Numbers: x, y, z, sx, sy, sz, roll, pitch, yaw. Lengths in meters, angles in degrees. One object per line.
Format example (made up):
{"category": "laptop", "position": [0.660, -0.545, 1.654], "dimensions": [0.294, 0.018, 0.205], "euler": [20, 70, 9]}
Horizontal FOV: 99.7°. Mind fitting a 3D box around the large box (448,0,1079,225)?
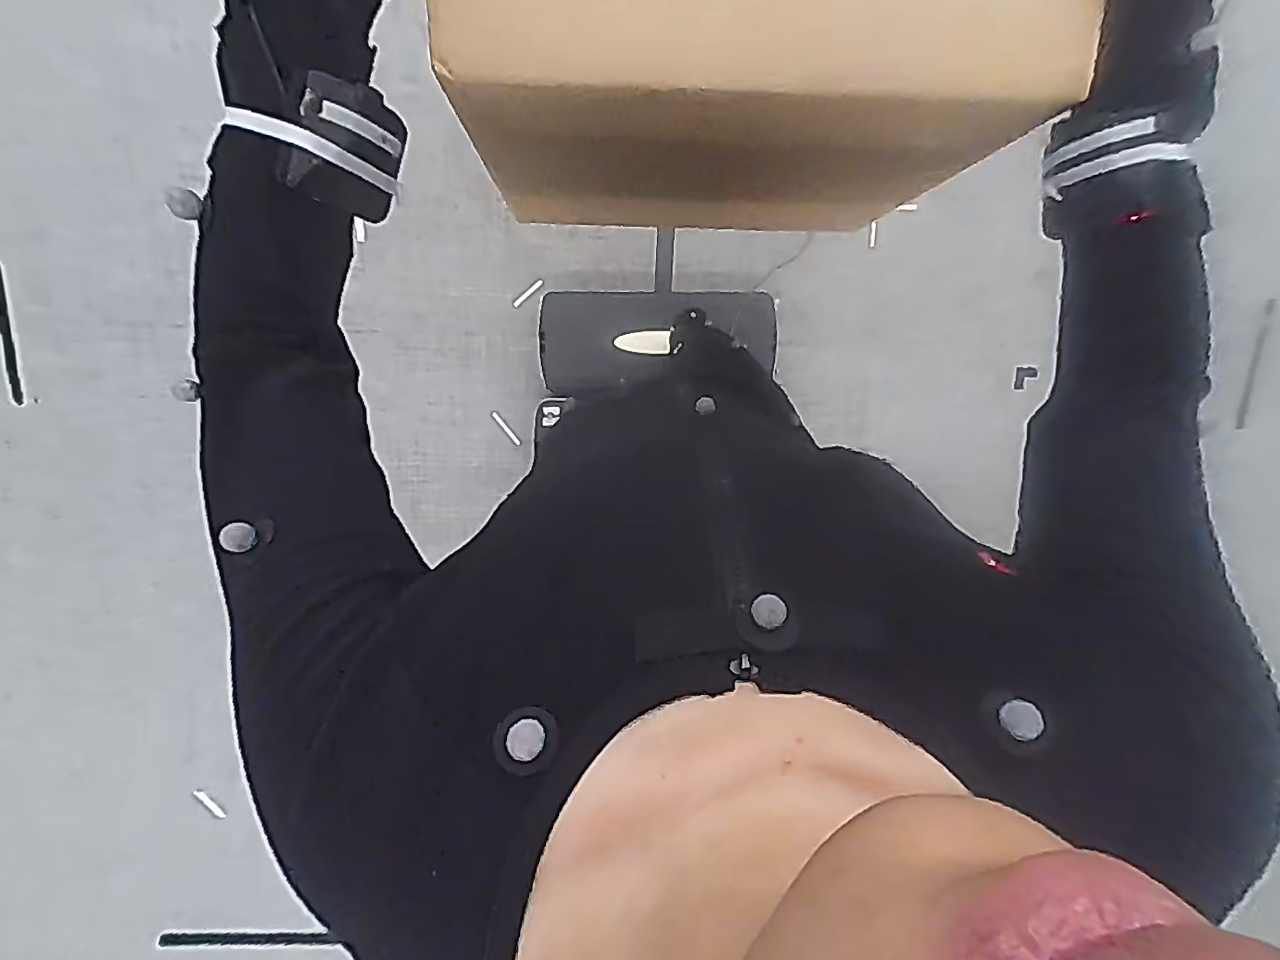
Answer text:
{"category": "large box", "position": [0.068, -0.425, 0.460], "dimensions": [0.408, 0.320, 0.320], "euler": [-1, 101, -4]}
